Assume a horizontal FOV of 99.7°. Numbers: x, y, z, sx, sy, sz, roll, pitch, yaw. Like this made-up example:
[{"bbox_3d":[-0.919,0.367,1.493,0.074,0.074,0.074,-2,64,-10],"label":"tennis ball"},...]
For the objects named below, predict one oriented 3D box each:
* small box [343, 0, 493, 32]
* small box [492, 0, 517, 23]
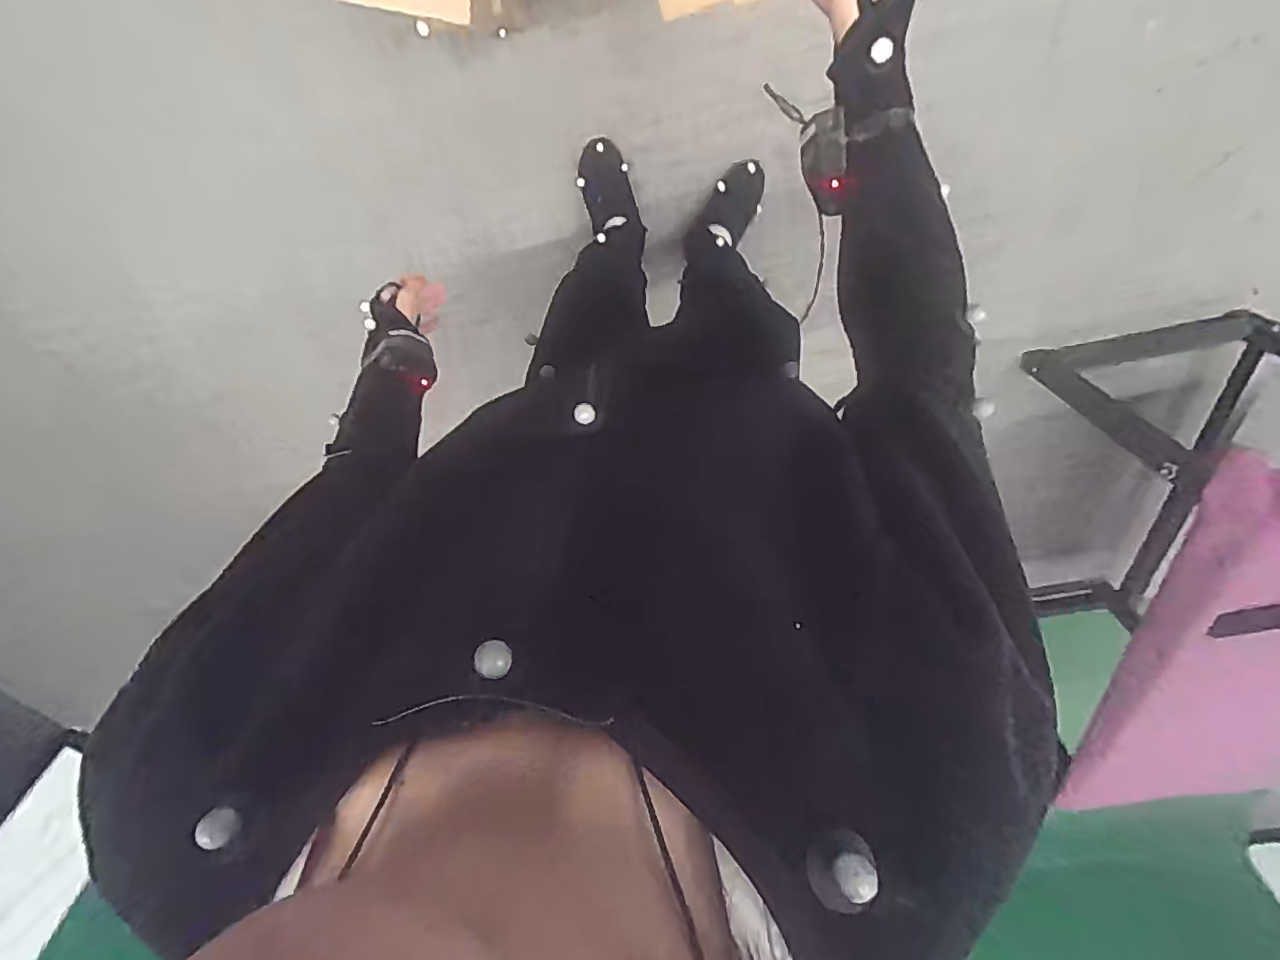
[{"bbox_3d":[-0.282,-0.693,0.679,0.168,0.176,0.179,6,127,-7],"label":"small box"},{"bbox_3d":[-0.287,-0.799,0.805,0.179,0.176,0.168,2,127,-4],"label":"small box"}]
